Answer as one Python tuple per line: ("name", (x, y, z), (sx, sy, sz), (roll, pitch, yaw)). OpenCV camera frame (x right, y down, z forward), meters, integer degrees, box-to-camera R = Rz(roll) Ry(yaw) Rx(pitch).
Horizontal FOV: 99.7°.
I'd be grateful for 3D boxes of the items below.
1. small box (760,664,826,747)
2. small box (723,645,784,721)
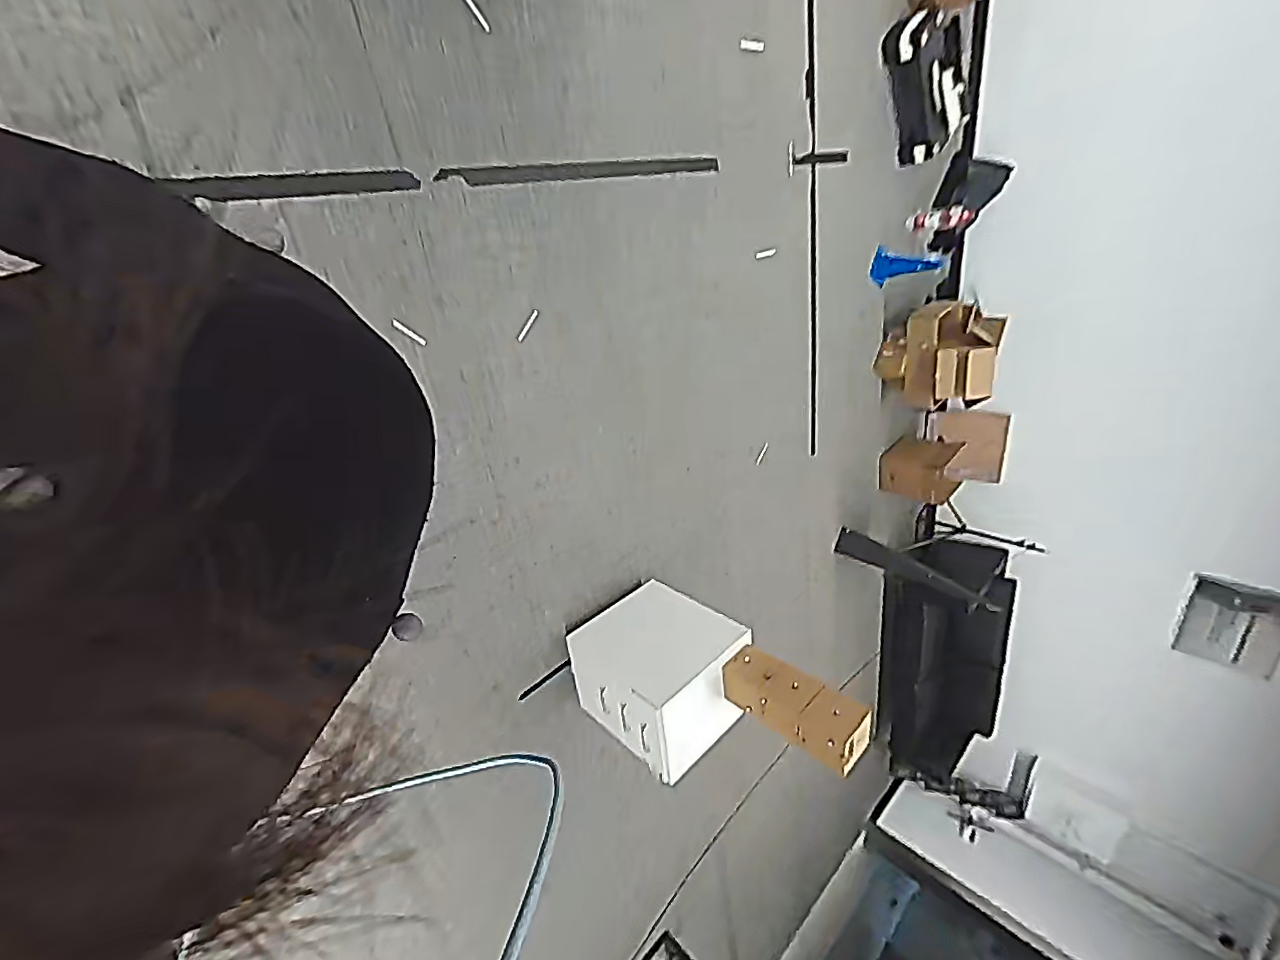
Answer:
("small box", (0.543, 0.801, 1.939), (0.179, 0.176, 0.168), (-27, 123, -35))
("small box", (0.433, 0.765, 2.055), (0.168, 0.176, 0.179), (-28, 122, -34))
